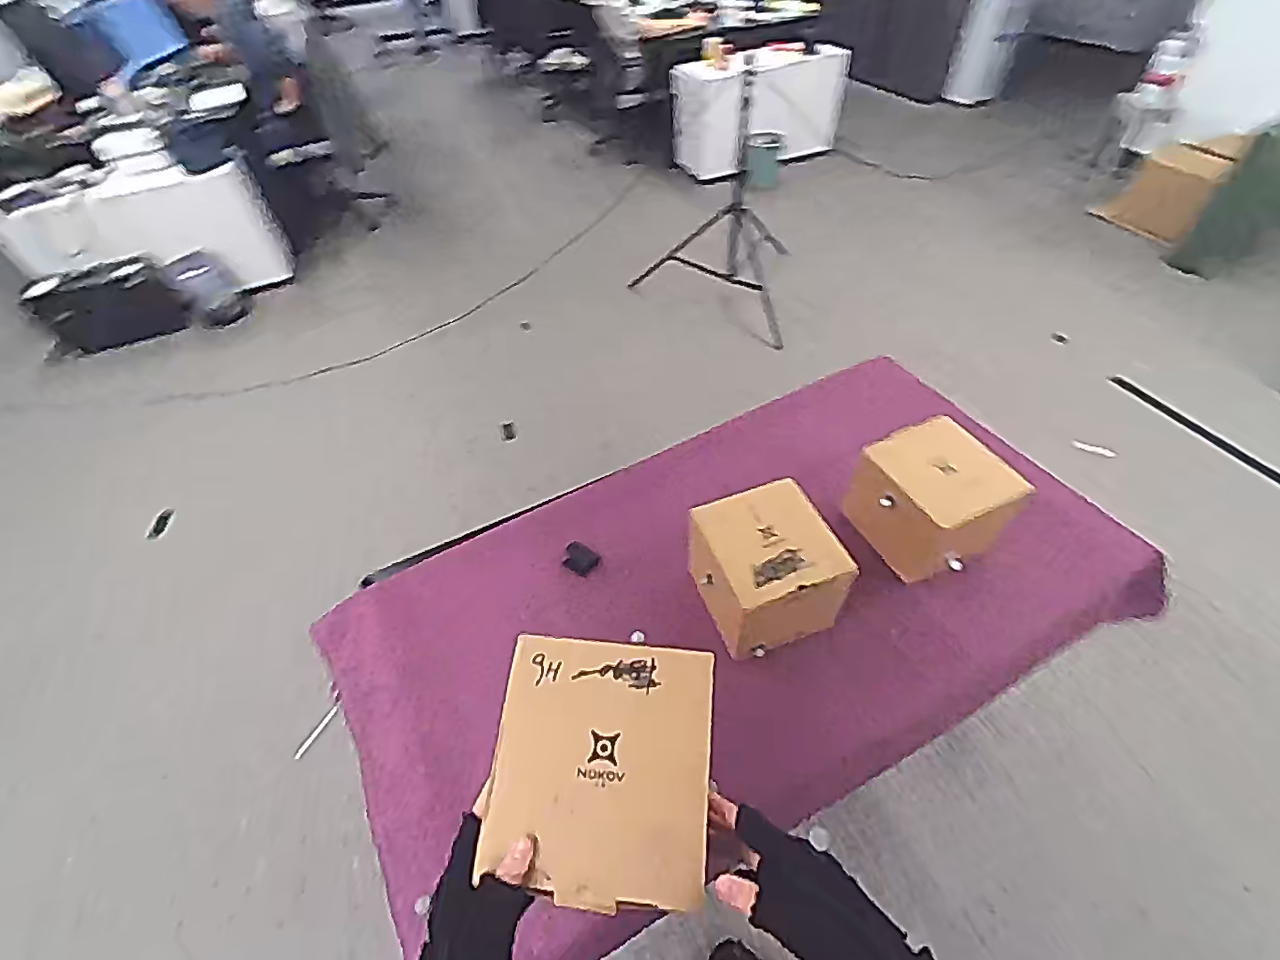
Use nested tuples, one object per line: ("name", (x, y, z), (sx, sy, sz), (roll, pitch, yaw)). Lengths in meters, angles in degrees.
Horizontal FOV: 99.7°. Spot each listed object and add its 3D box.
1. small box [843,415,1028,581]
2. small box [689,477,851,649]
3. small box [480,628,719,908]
("small box", (0.459, 0.031, 0.876), (0.168, 0.176, 0.179), (-22, 52, -12))
("small box", (0.181, 0.130, 0.808), (0.168, 0.176, 0.179), (-17, 49, -11))
("small box", (-0.022, 0.242, 0.486), (0.168, 0.176, 0.179), (5, 66, 4))
